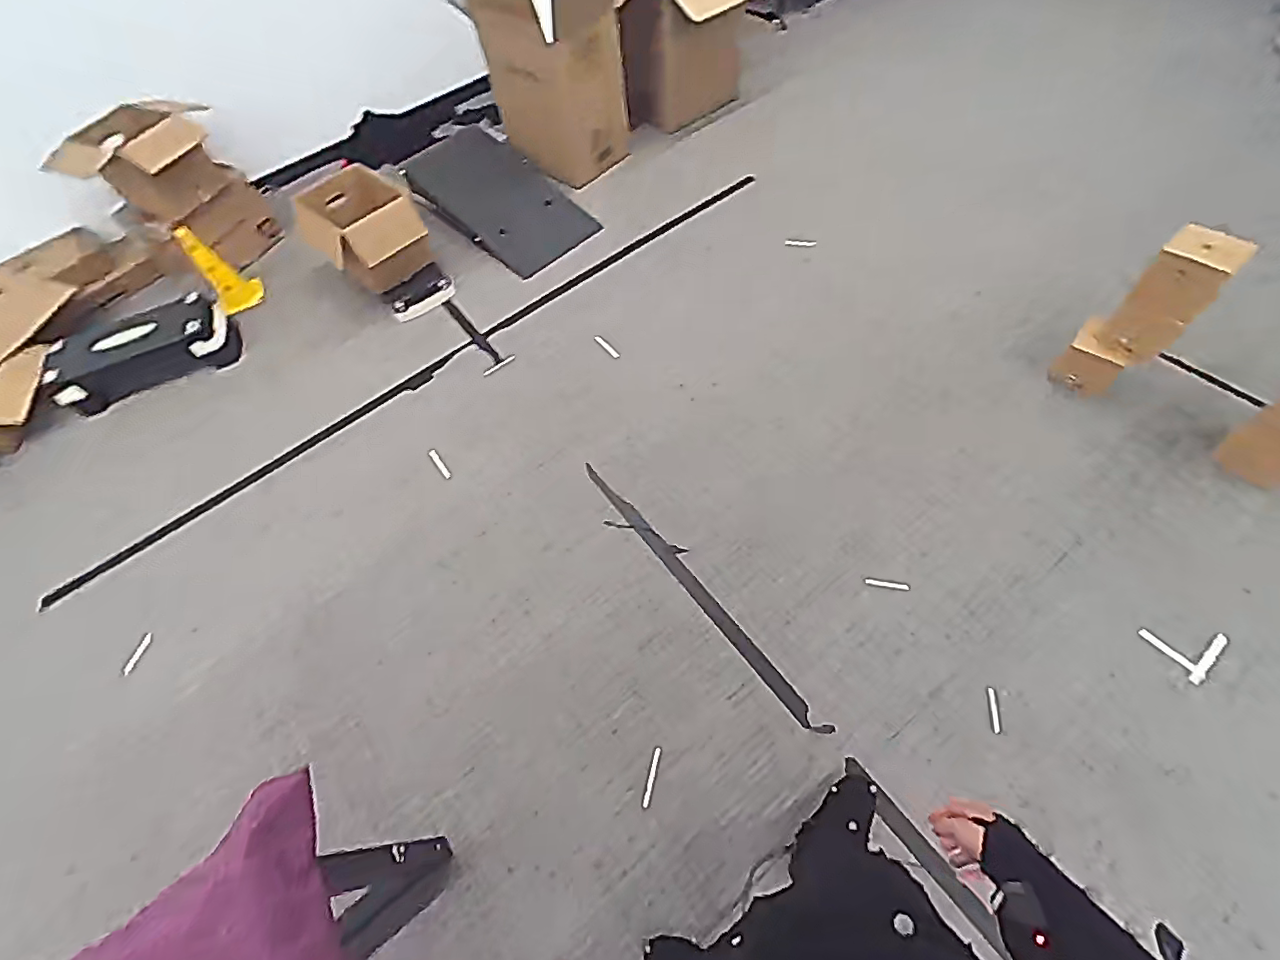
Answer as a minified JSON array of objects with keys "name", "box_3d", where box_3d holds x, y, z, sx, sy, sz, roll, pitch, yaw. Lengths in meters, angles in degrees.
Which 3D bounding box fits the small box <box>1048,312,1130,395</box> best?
[{"name":"small box","box_3d":[1.534,-0.426,1.831,0.168,0.176,0.179,34,69,24]}]

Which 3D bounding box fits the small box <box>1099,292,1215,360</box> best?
[{"name":"small box","box_3d":[1.595,-0.511,1.683,0.179,0.176,0.168,-33,60,-13]}]

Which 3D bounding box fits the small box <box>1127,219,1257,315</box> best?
[{"name":"small box","box_3d":[1.569,-0.606,1.551,0.168,0.176,0.179,-39,62,-17]}]

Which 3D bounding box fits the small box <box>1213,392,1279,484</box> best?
[{"name":"small box","box_3d":[1.888,-0.120,1.604,0.168,0.176,0.179,-36,62,-14]}]
